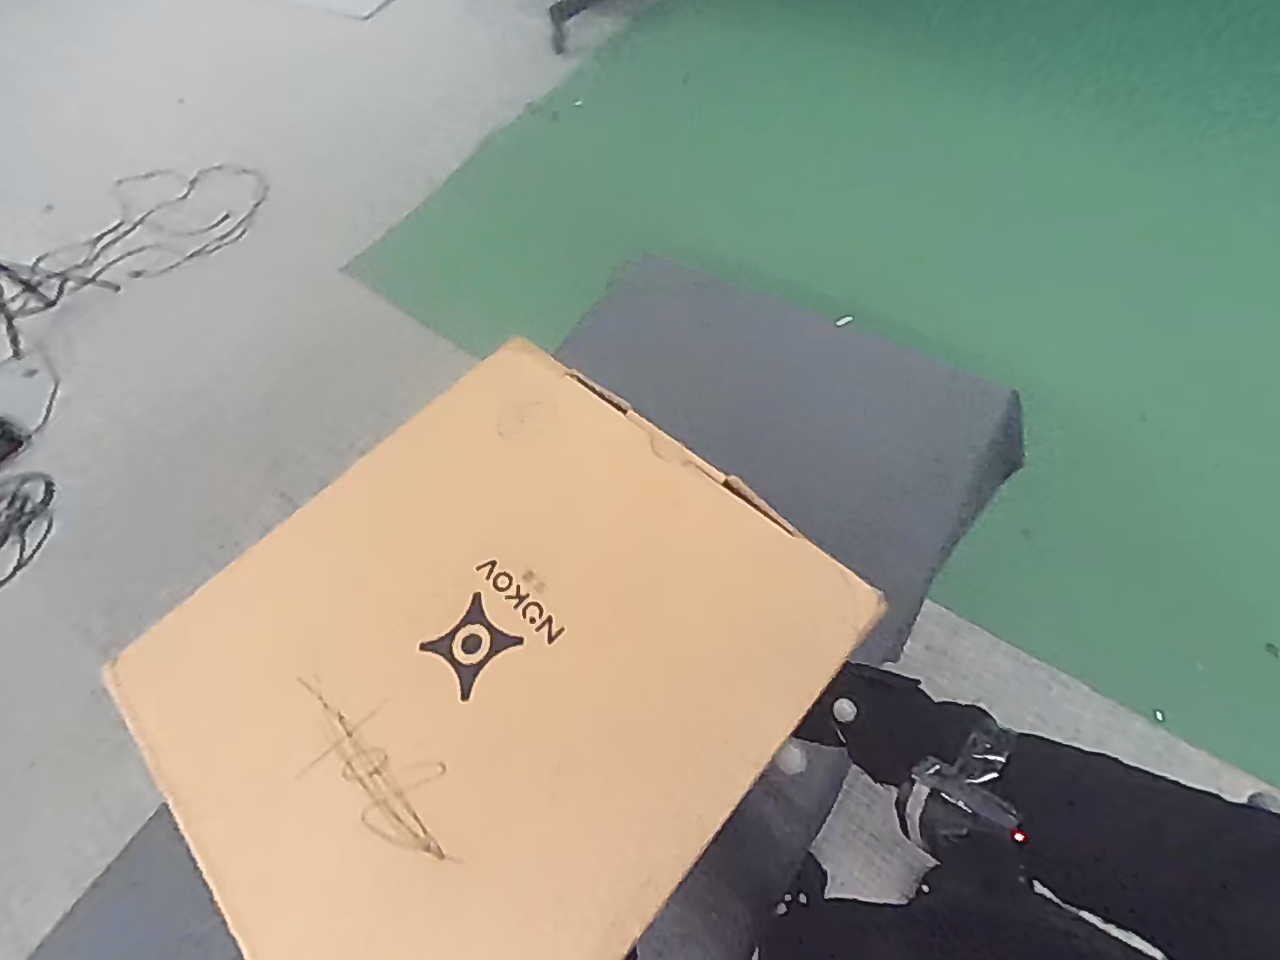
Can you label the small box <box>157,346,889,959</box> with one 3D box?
[{"bbox_3d":[-0.033,0.084,0.239,0.168,0.176,0.179,37,72,23],"label":"small box"}]
